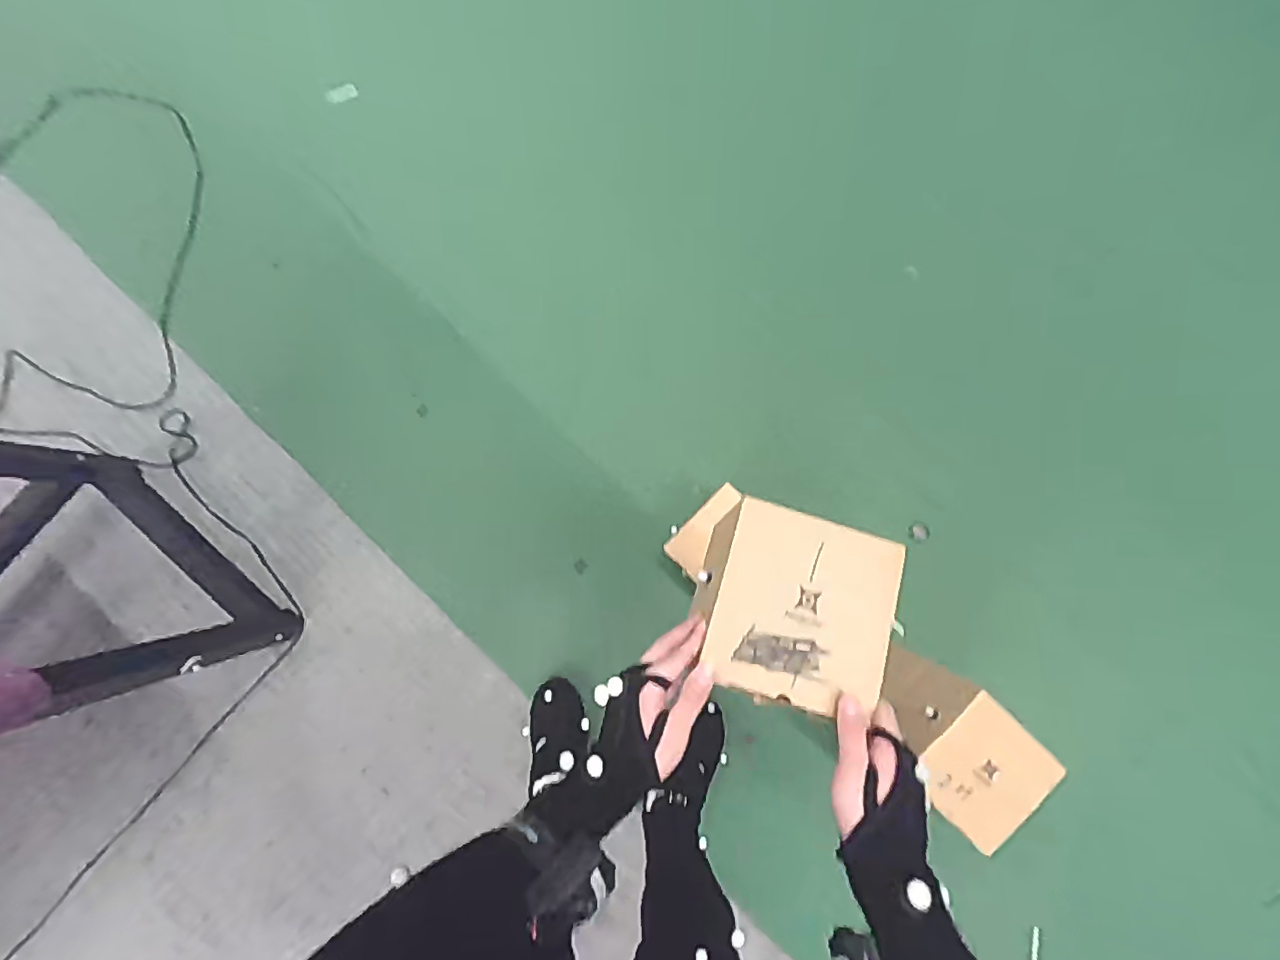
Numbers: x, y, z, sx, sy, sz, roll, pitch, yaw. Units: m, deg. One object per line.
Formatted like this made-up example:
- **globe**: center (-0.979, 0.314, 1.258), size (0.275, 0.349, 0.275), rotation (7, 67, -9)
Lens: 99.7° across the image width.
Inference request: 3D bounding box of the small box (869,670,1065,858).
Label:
- **small box**: center (0.508, 0.439, 0.872), size (0.179, 0.176, 0.168), rotation (-45, 85, -2)

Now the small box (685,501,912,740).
- **small box**: center (0.151, 0.142, 0.569), size (0.168, 0.176, 0.179), rotation (17, 75, 2)

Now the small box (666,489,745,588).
- **small box**: center (0.164, 0.138, 1.079), size (0.168, 0.176, 0.179), rotation (44, 88, 5)
